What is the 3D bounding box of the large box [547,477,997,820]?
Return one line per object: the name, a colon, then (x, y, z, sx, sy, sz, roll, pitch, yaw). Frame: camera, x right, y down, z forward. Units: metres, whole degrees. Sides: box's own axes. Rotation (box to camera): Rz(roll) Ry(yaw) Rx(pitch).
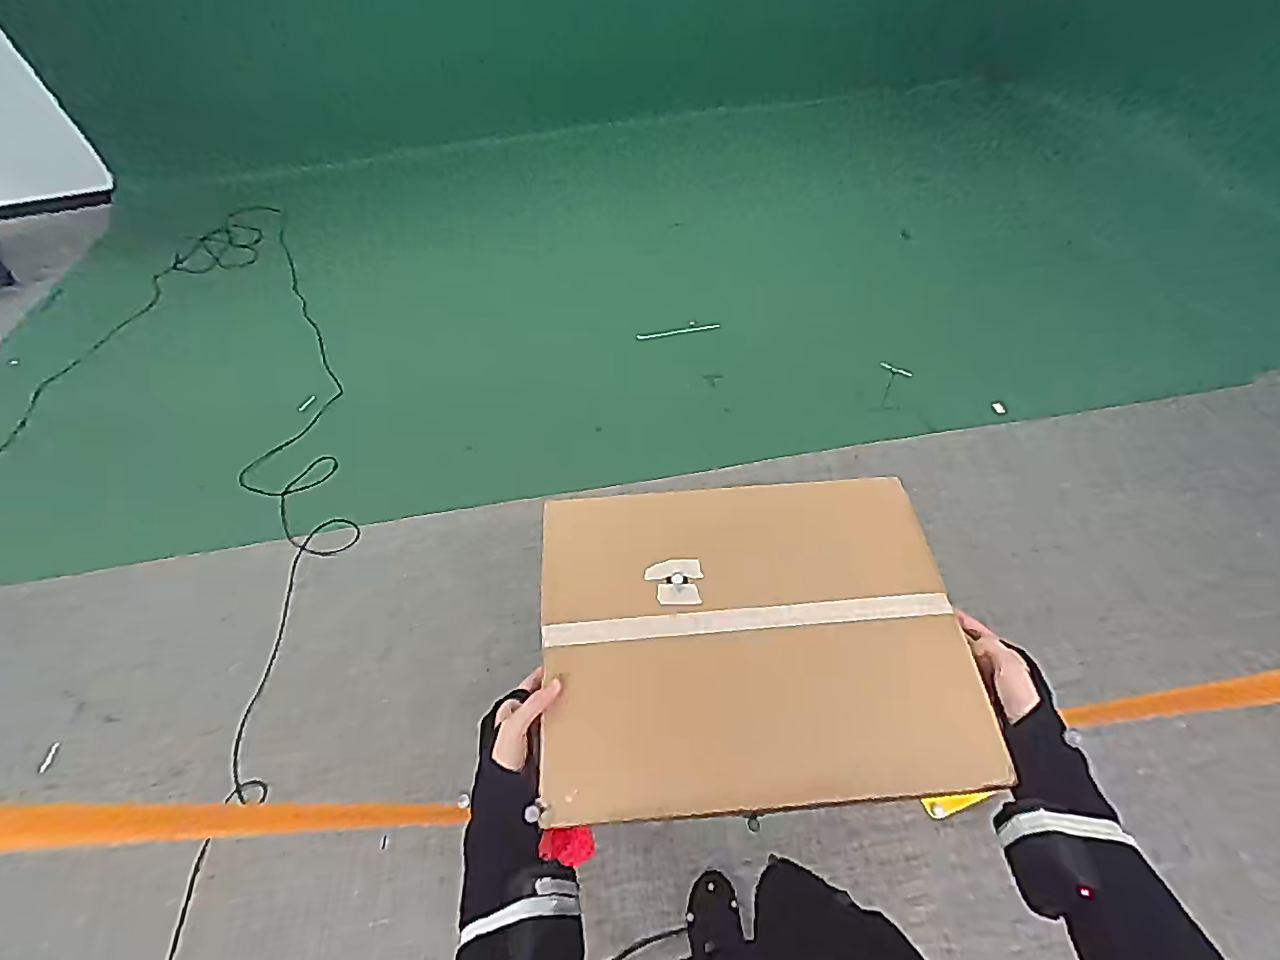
large box: (0.112, 0.223, 0.673, 0.408, 0.320, 0.320, -5, 56, -1)
